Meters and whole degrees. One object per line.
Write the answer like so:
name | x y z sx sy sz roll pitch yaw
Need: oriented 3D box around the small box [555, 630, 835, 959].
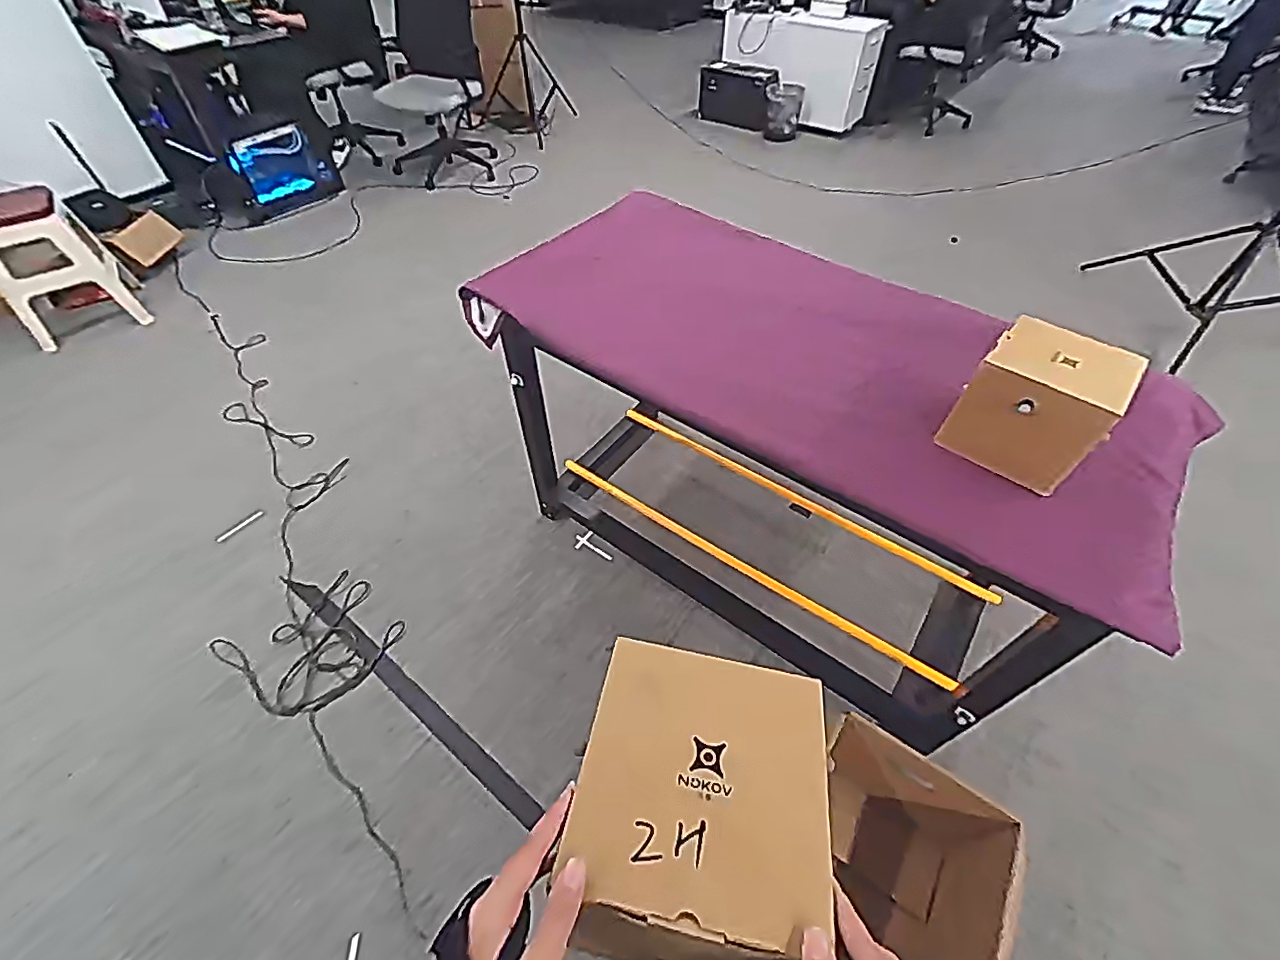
small box | 0.040 0.252 0.419 0.168 0.176 0.179 10 41 7

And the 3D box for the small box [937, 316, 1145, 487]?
small box | 0.599 -0.114 0.825 0.179 0.176 0.168 34 56 26
